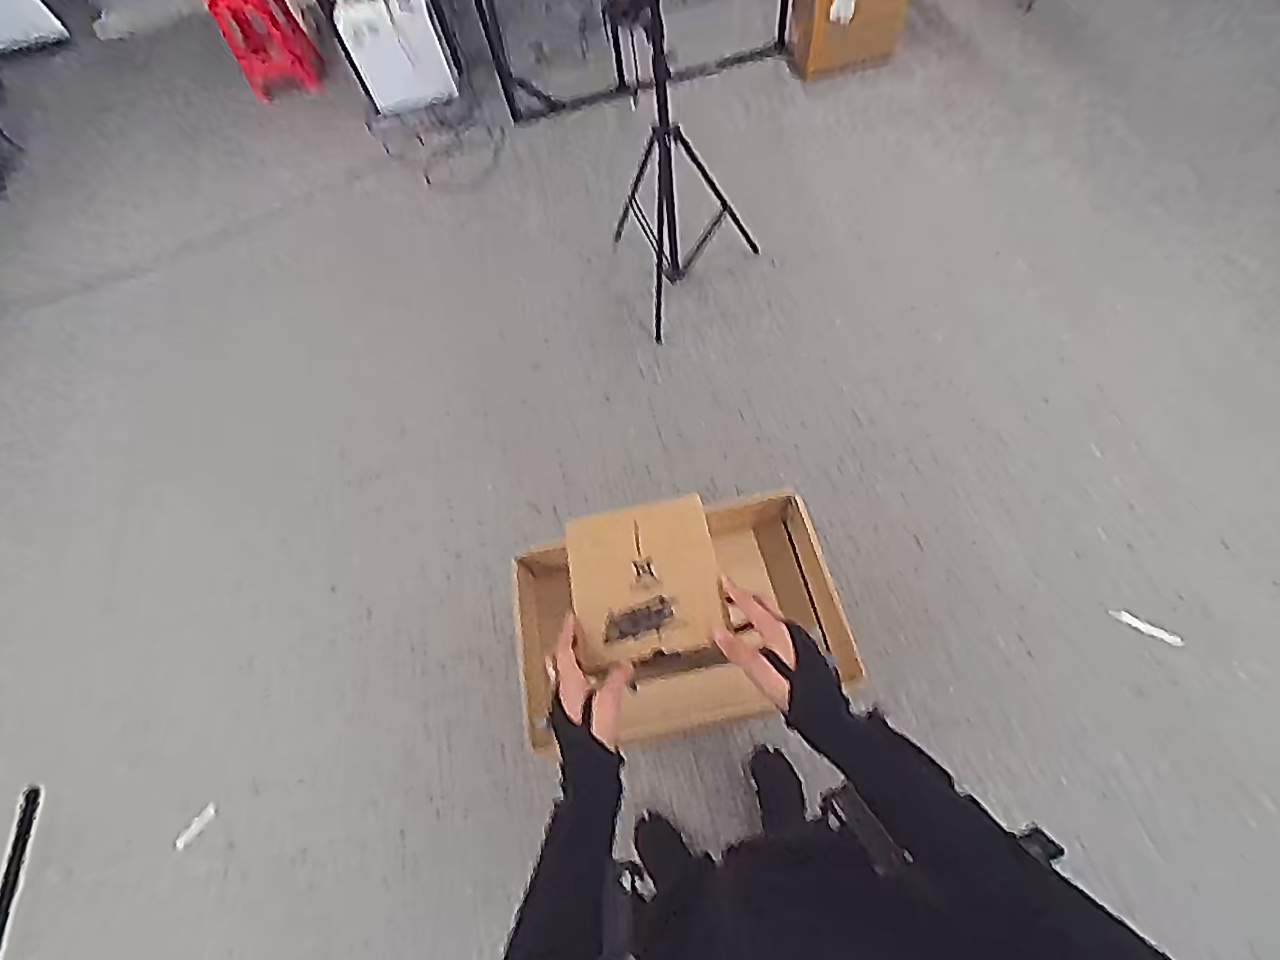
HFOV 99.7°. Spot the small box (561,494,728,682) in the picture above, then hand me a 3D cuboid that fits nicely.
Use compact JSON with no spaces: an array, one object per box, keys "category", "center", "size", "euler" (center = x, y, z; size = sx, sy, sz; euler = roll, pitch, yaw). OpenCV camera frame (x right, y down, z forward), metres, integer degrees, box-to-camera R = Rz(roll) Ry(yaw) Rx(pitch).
[{"category":"small box","center":[0.011,0.142,0.665],"size":[0.168,0.176,0.179],"euler":[-12,62,2]}]
